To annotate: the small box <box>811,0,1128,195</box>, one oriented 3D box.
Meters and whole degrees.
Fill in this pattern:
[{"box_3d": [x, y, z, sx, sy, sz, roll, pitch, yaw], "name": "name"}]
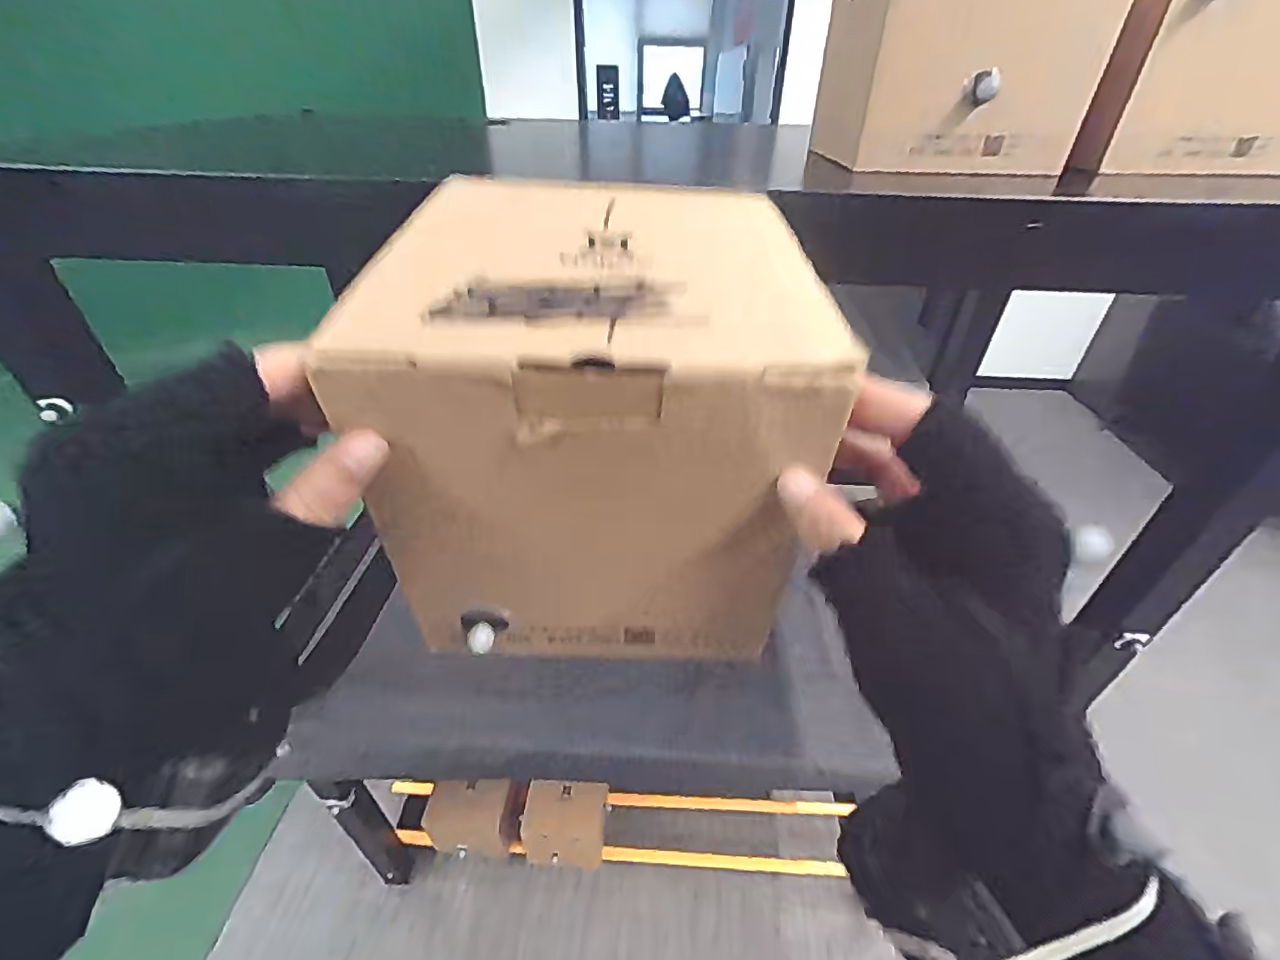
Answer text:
[{"box_3d": [0.255, -0.353, 0.458, 0.168, 0.176, 0.179, 2, 37, 2], "name": "small box"}]
